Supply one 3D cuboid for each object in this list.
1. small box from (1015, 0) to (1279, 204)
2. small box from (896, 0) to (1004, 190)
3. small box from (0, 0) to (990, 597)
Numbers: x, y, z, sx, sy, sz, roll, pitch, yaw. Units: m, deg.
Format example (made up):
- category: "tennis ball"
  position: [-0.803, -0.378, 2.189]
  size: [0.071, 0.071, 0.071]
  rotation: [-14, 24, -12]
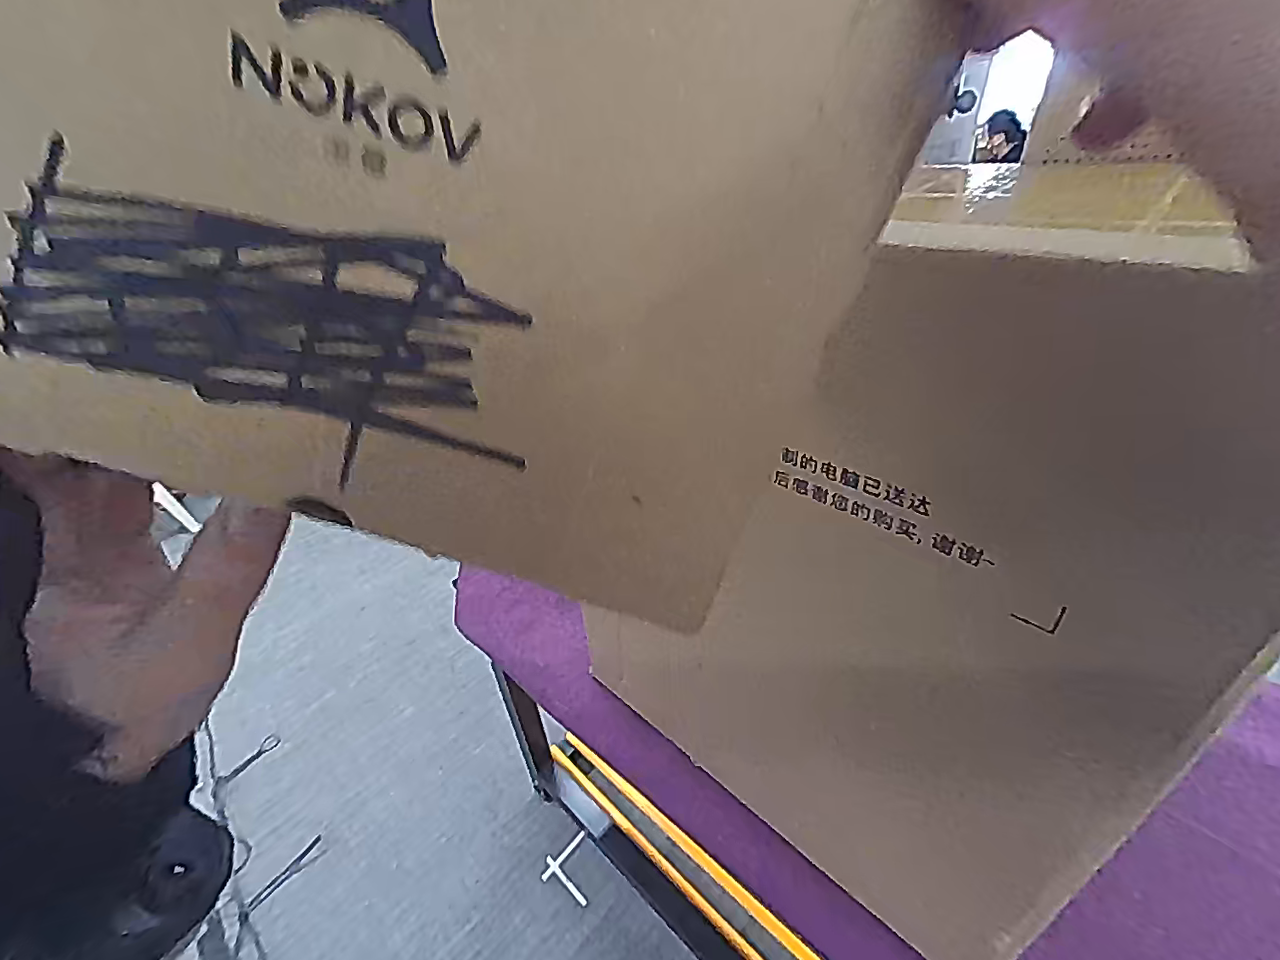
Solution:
- category: "small box"
  position: [0.376, -0.282, 0.344]
  size: [0.179, 0.176, 0.168]
  rotation: [20, 40, 35]
- category: "small box"
  position: [0.192, -0.360, 0.483]
  size: [0.179, 0.176, 0.168]
  rotation: [26, 46, 35]
- category: "small box"
  position: [-0.034, -0.104, 0.153]
  size: [0.168, 0.179, 0.176]
  rotation: [17, 25, -7]
